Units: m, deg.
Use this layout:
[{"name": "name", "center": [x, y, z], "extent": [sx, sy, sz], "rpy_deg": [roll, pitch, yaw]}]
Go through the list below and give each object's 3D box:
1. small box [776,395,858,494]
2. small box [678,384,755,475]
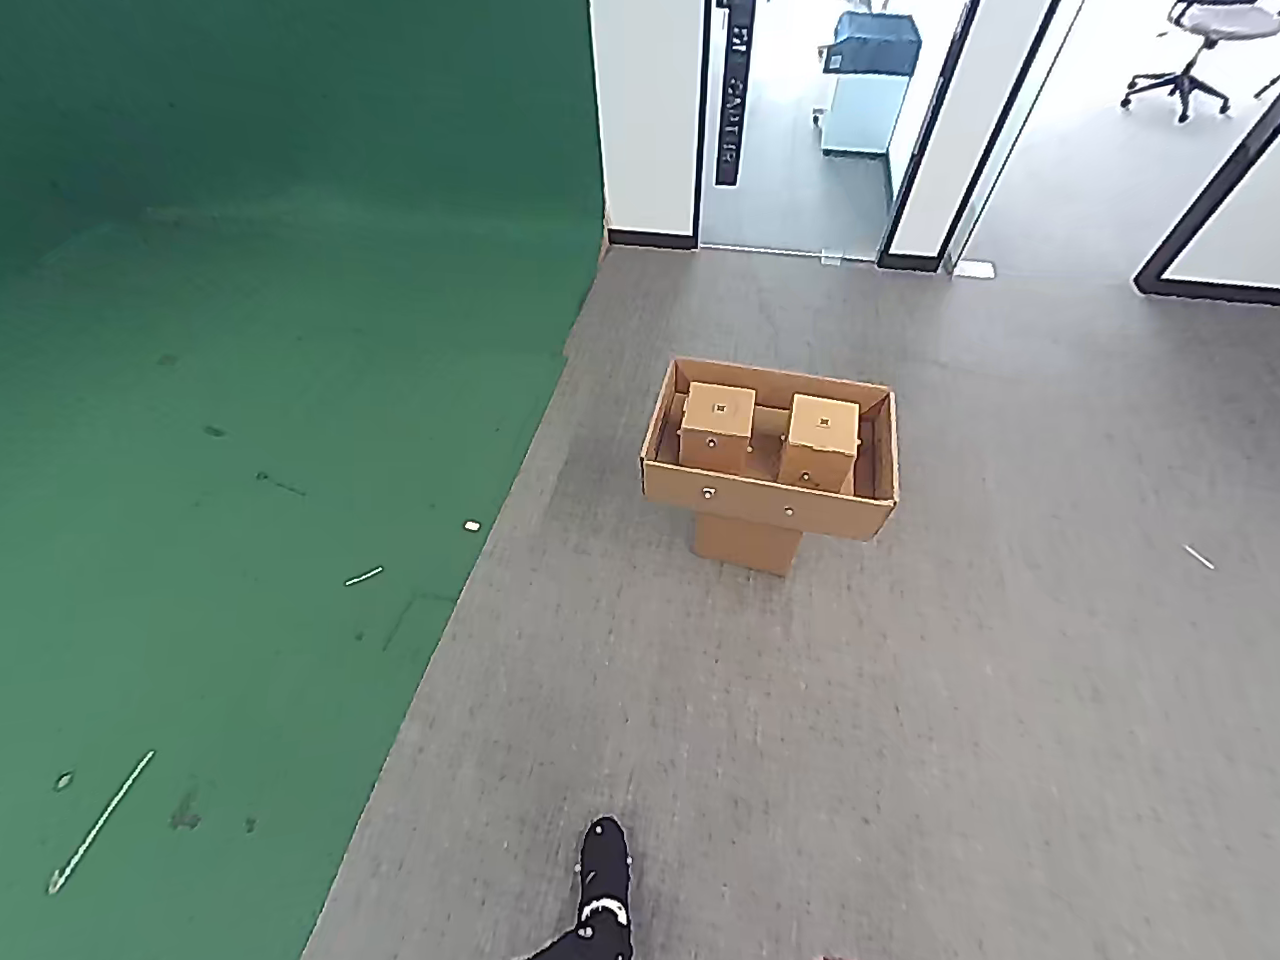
[{"name": "small box", "center": [0.460, -0.092, 1.418], "extent": [0.168, 0.176, 0.179], "rpy_deg": [11, 55, 9]}, {"name": "small box", "center": [0.202, -0.132, 1.455], "extent": [0.179, 0.176, 0.168], "rpy_deg": [10, 55, 8]}]
